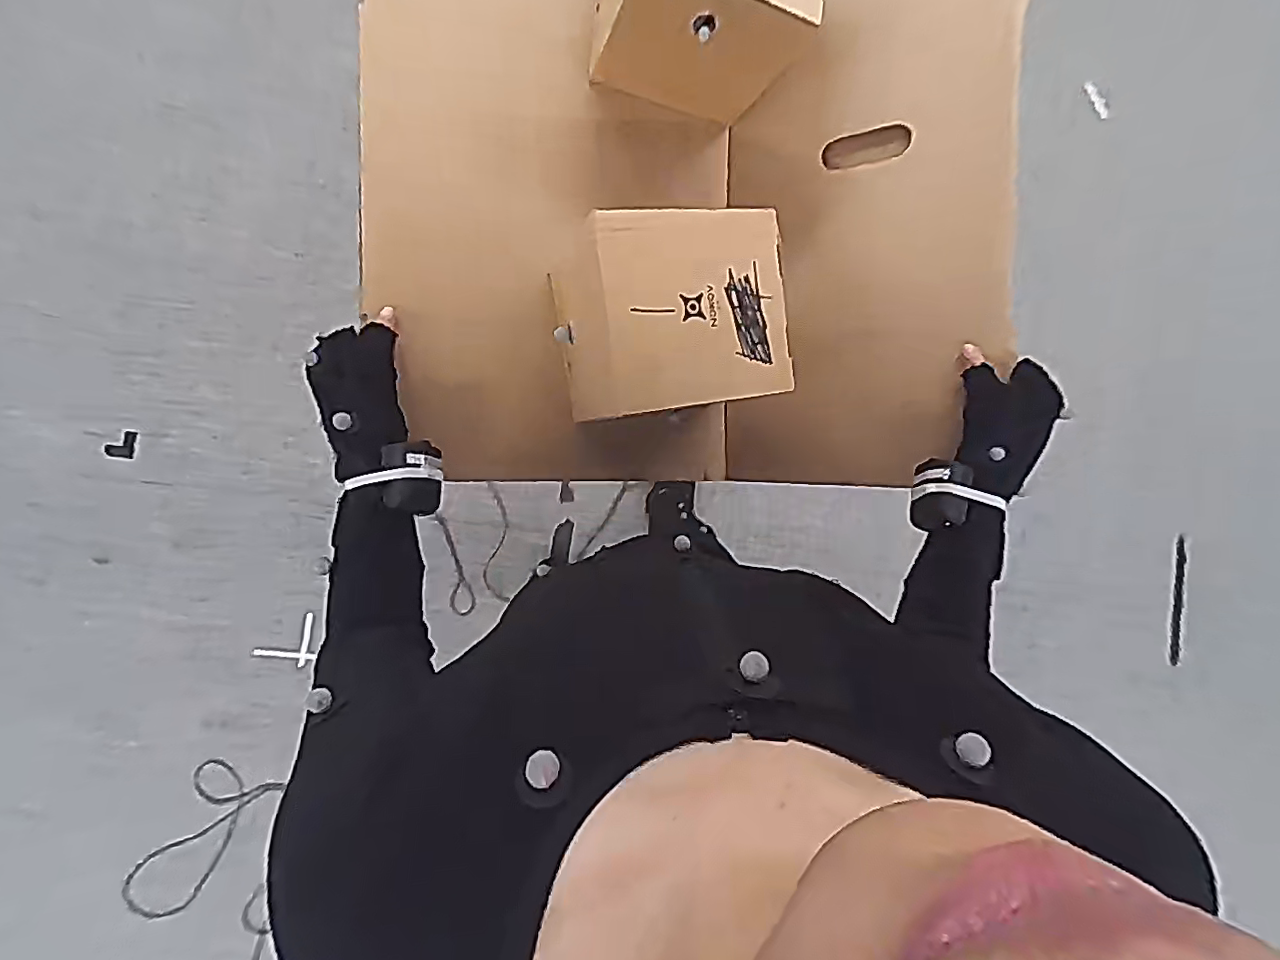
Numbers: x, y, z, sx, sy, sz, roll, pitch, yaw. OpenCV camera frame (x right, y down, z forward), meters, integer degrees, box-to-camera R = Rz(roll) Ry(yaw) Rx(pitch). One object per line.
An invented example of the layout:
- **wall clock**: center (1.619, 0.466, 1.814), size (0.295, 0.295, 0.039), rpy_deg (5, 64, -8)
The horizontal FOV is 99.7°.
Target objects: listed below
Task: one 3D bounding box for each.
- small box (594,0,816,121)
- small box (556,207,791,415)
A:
- **small box**: center (0.060, -0.508, 0.548), size (0.179, 0.176, 0.168), rpy_deg (4, 92, -22)
- **small box**: center (0.026, -0.161, 0.554), size (0.179, 0.176, 0.168), rpy_deg (-11, 97, -20)
